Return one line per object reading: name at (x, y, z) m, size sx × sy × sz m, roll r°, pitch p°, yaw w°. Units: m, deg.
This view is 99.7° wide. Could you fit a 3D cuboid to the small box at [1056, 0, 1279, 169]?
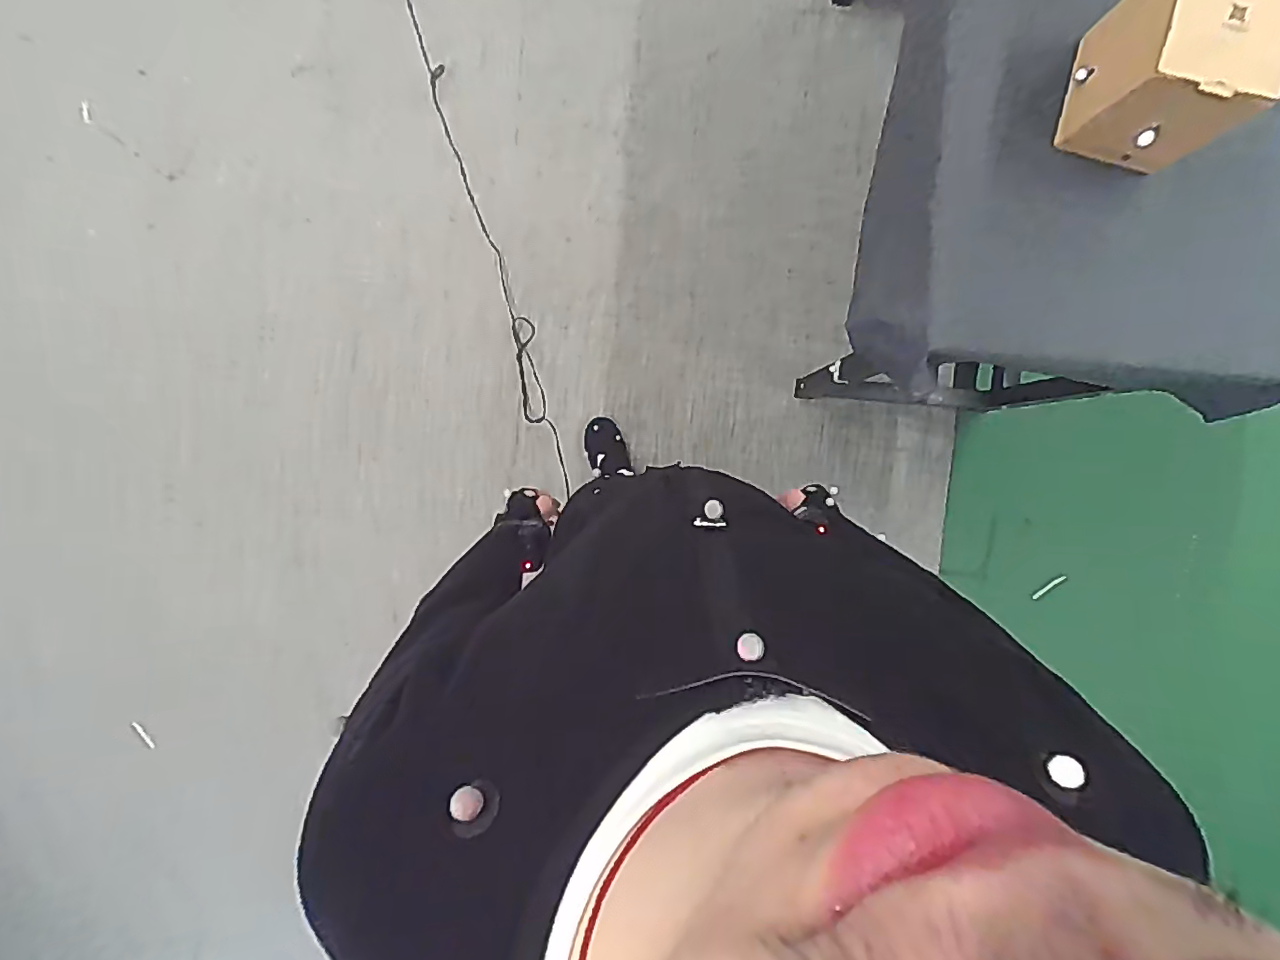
small box at (0.740, -0.579, 0.763) m, size 0.168 × 0.176 × 0.179 m, roll 13°, pitch 93°, yaw -2°
